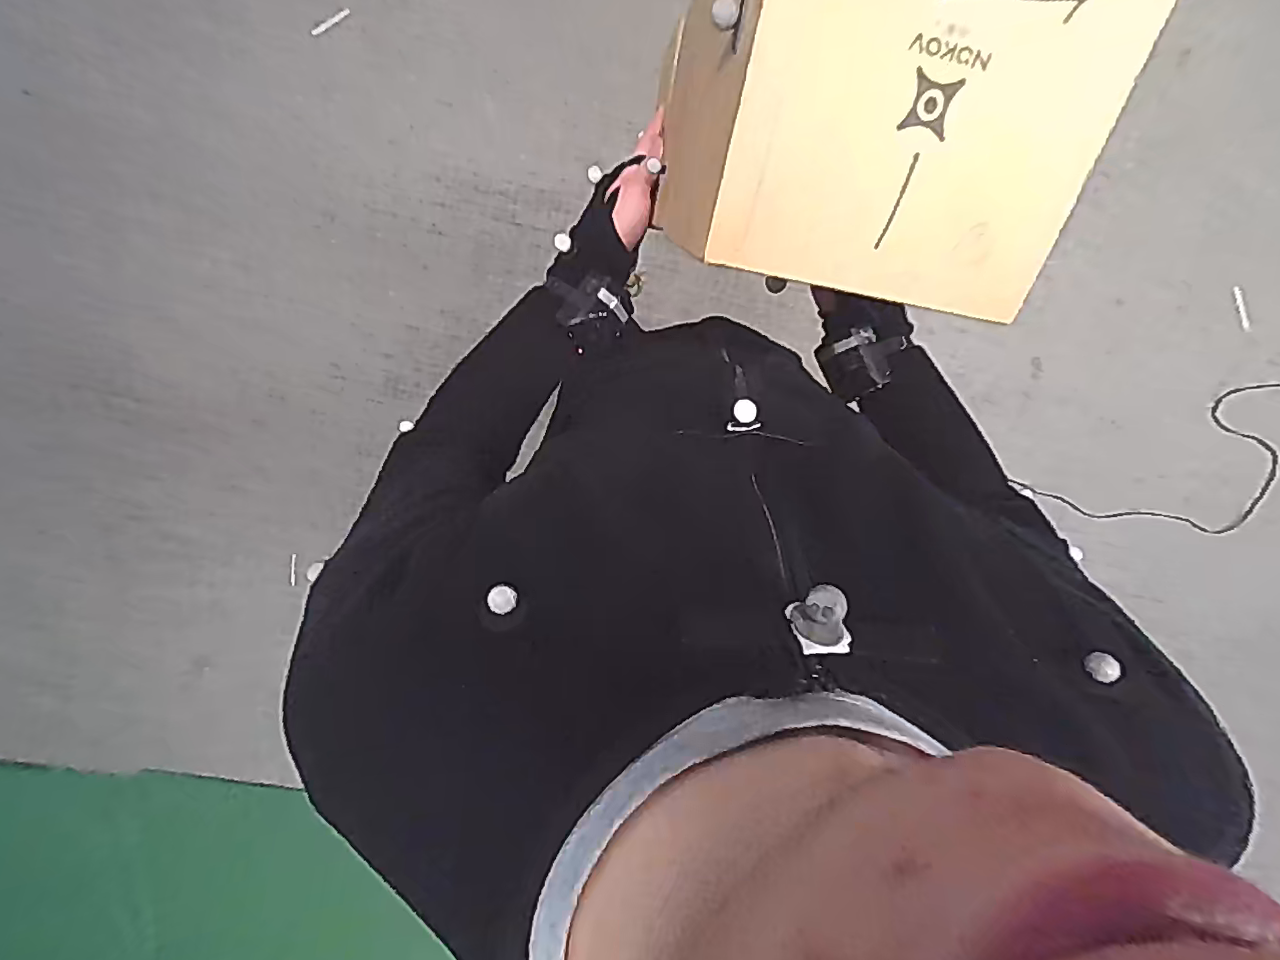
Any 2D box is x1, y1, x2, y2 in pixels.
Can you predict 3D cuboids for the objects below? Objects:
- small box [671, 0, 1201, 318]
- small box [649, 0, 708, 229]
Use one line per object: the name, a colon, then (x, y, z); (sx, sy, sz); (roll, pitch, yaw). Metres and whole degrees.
small box: (0.118, -0.201, 0.277); (0.168, 0.176, 0.179); (8, 117, -9)
small box: (0.104, -0.280, 0.421); (0.168, 0.176, 0.179); (8, 115, -9)
